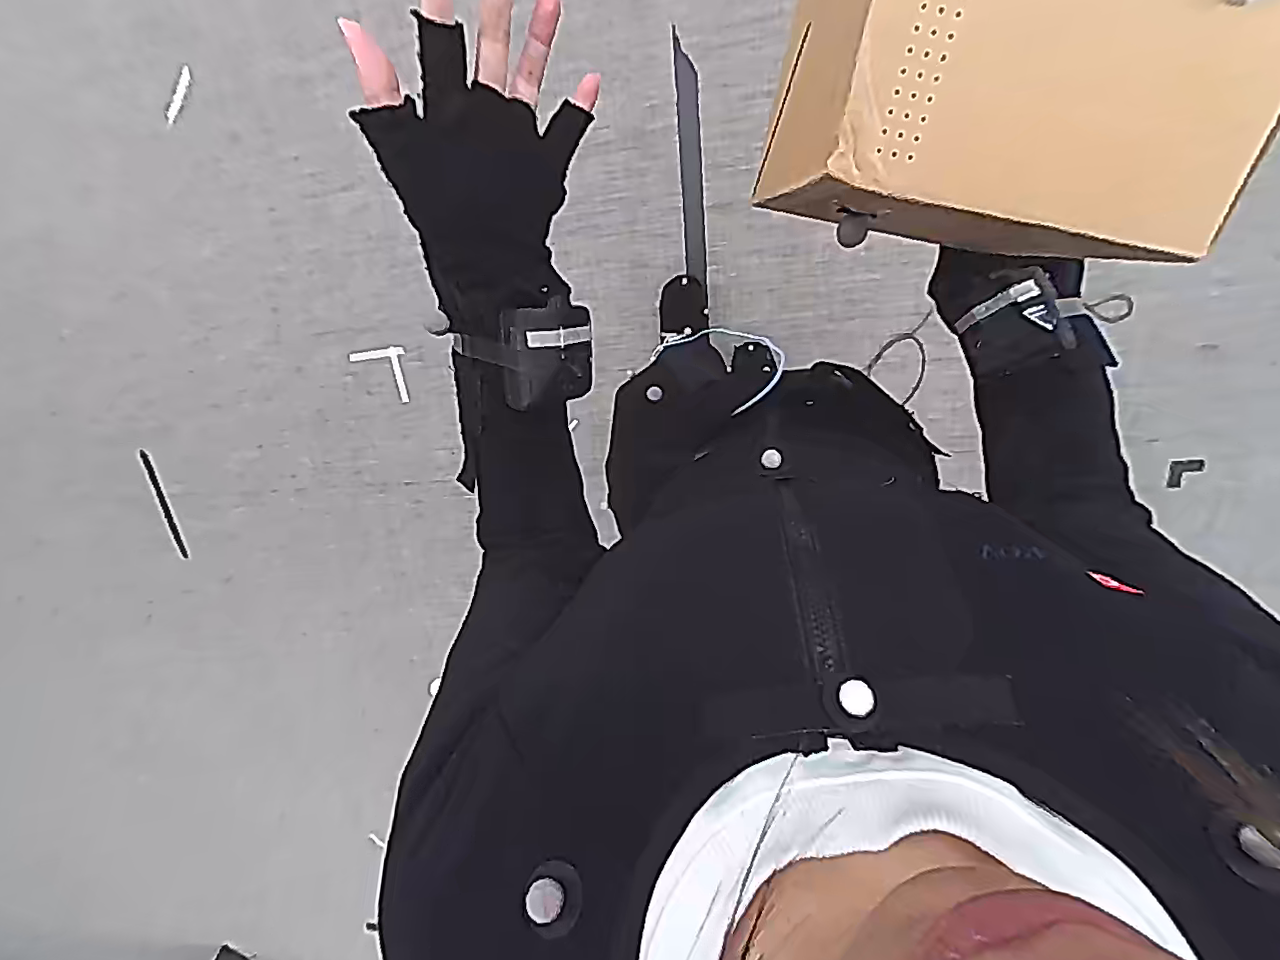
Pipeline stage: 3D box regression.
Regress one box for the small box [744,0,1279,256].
[{"bbox_3d":[0.163,-0.219,0.269,0.176,0.168,0.179,10,113,-3],"label":"small box"}]
